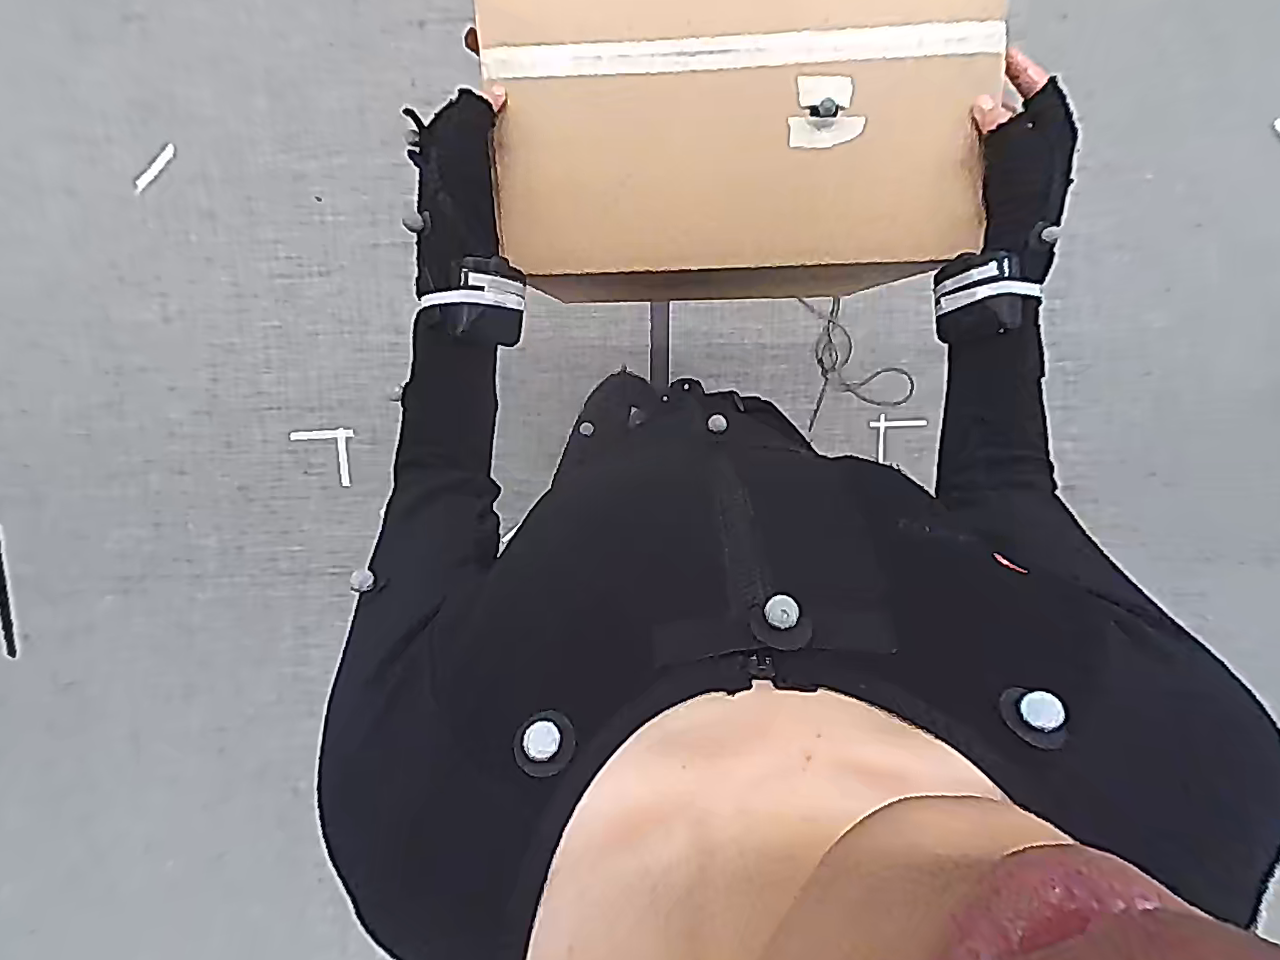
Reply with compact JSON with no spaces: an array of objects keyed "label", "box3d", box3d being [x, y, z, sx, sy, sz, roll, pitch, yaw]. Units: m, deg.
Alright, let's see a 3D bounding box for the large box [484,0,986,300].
[{"label":"large box","box3d":[0.076,-0.379,0.582,0.408,0.320,0.320,-2,104,1]}]
